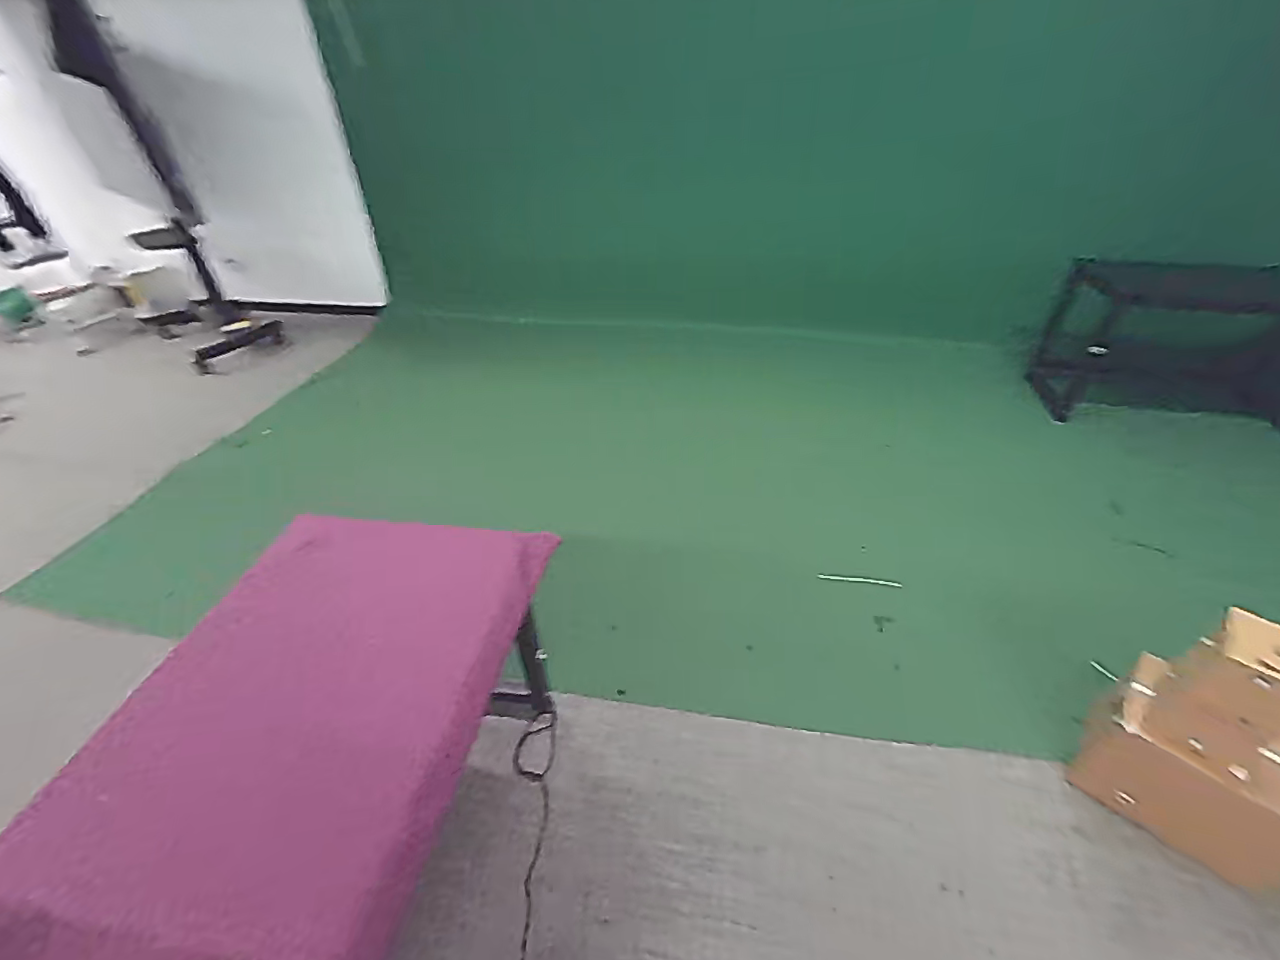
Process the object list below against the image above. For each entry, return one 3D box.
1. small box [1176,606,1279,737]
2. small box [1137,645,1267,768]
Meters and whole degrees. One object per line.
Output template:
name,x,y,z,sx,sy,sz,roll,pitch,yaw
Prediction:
small box,1.350,0.424,1.202,0.168,0.176,0.179,30,48,33
small box,1.359,0.548,1.310,0.168,0.176,0.179,30,49,33
